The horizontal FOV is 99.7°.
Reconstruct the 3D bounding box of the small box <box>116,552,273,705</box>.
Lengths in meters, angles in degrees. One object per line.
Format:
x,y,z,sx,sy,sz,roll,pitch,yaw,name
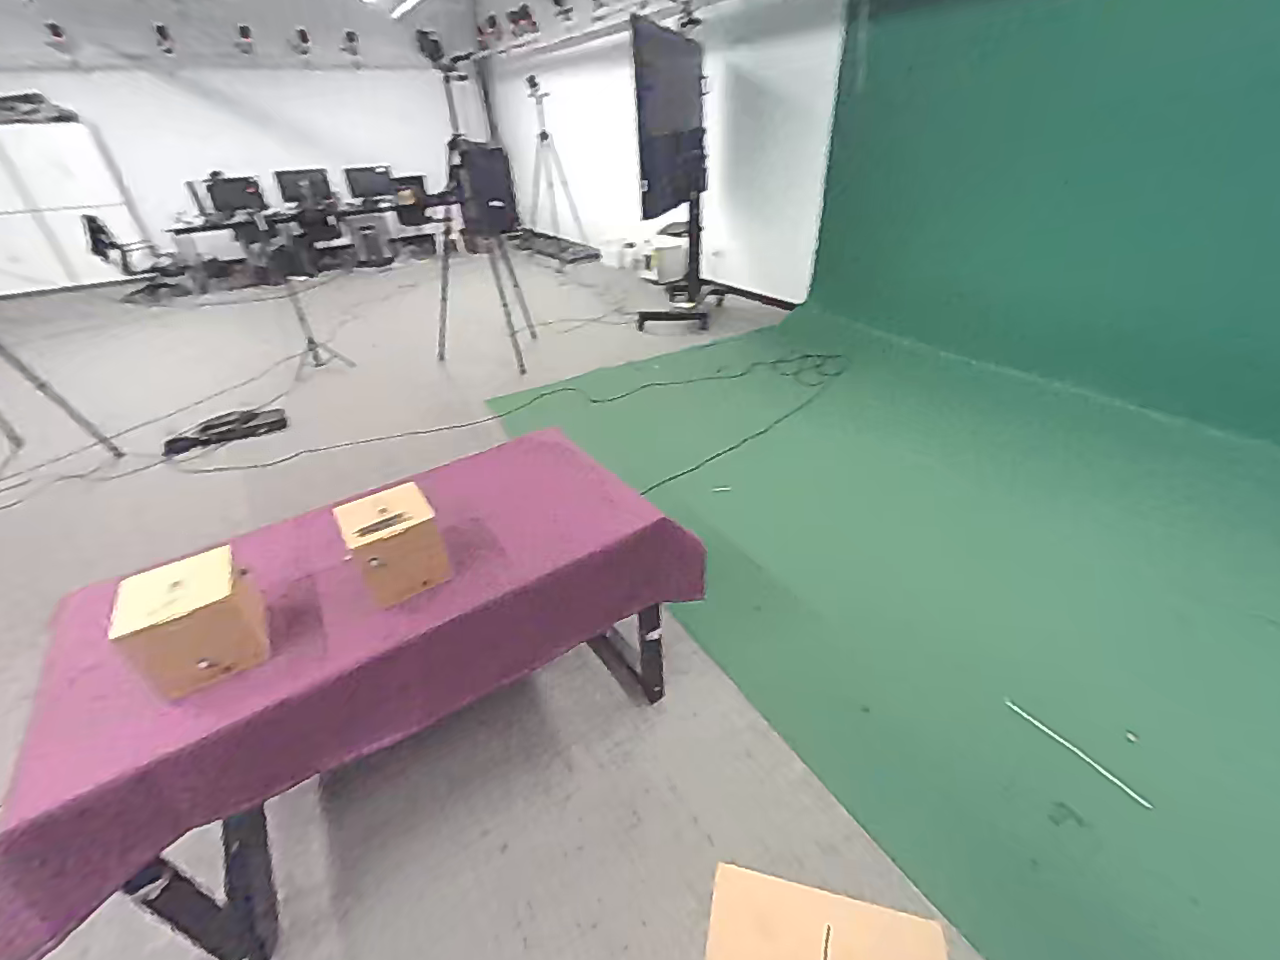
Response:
-0.804,0.269,0.994,0.168,0.176,0.179,-23,37,-26,small box

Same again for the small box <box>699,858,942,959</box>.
0.120,0.424,0.395,0.168,0.176,0.179,6,38,13,small box
